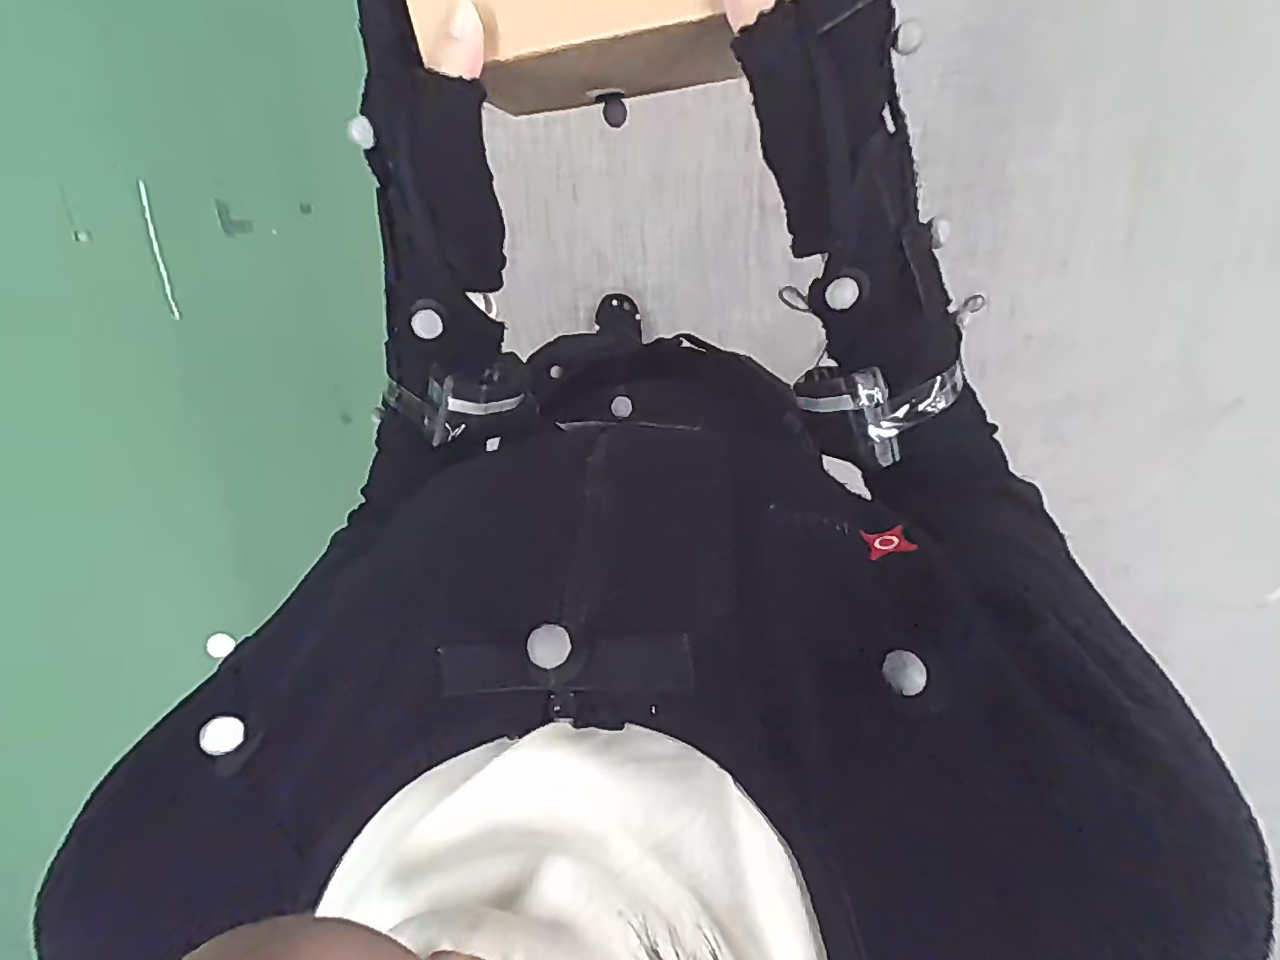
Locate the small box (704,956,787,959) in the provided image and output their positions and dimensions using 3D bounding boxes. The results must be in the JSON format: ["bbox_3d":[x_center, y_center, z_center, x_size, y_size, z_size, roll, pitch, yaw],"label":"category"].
[{"bbox_3d":[0.168,0.896,0.849,0.179,0.176,0.168,-1,106,3],"label":"small box"}]

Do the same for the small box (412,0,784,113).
[{"bbox_3d":[-0.023,-0.311,0.272,0.168,0.176,0.179,-5,117,7],"label":"small box"}]
